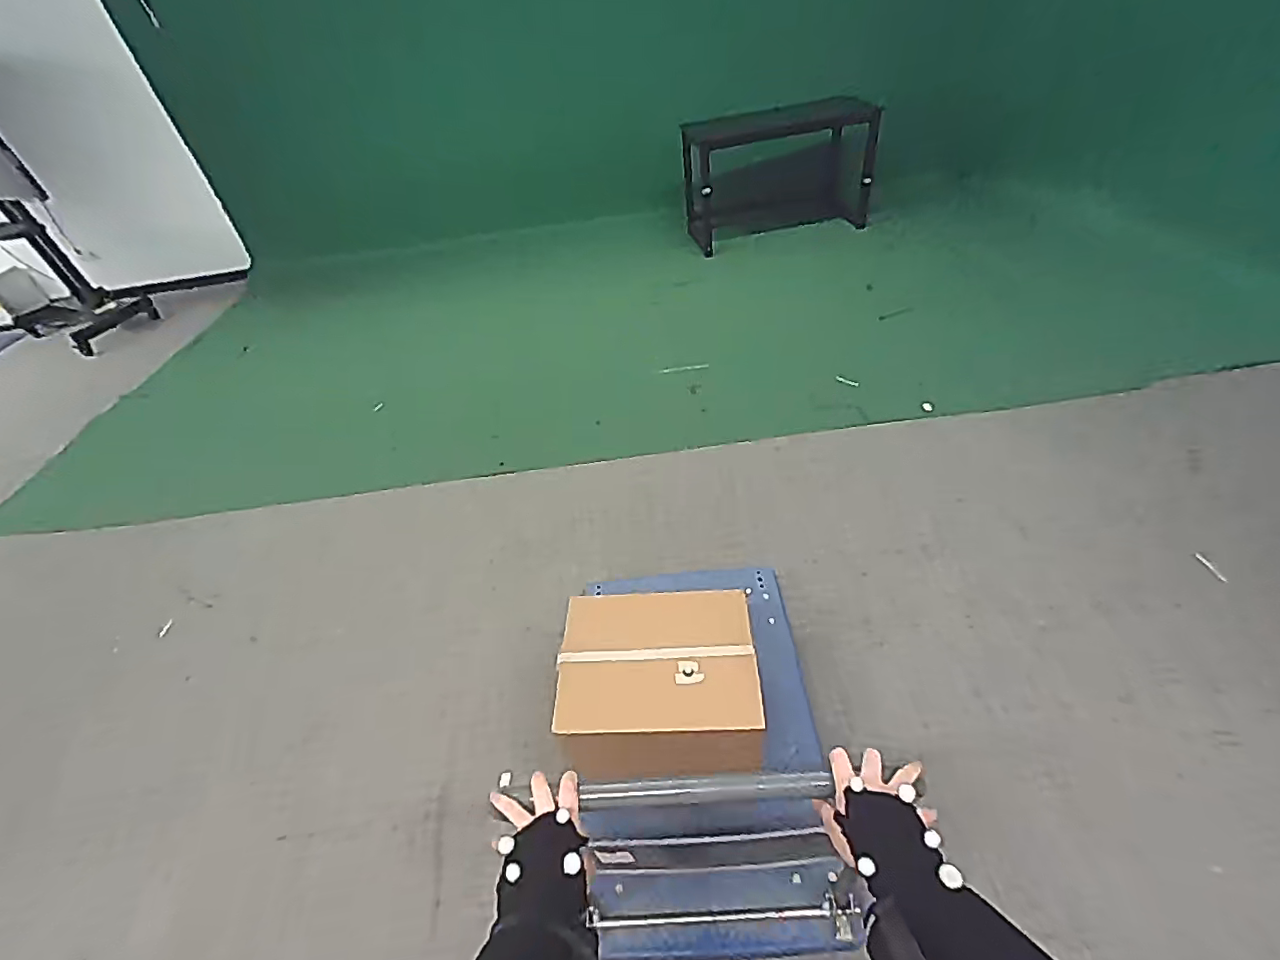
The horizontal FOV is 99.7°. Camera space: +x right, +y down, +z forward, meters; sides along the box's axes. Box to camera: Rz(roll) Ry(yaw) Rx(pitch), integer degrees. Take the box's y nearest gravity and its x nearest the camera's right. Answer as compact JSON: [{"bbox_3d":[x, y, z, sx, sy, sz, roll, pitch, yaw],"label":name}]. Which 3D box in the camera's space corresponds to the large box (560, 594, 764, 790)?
[{"bbox_3d":[0.052,0.488,1.242,0.408,0.320,0.320,-3,42,4],"label":"large box"}]
